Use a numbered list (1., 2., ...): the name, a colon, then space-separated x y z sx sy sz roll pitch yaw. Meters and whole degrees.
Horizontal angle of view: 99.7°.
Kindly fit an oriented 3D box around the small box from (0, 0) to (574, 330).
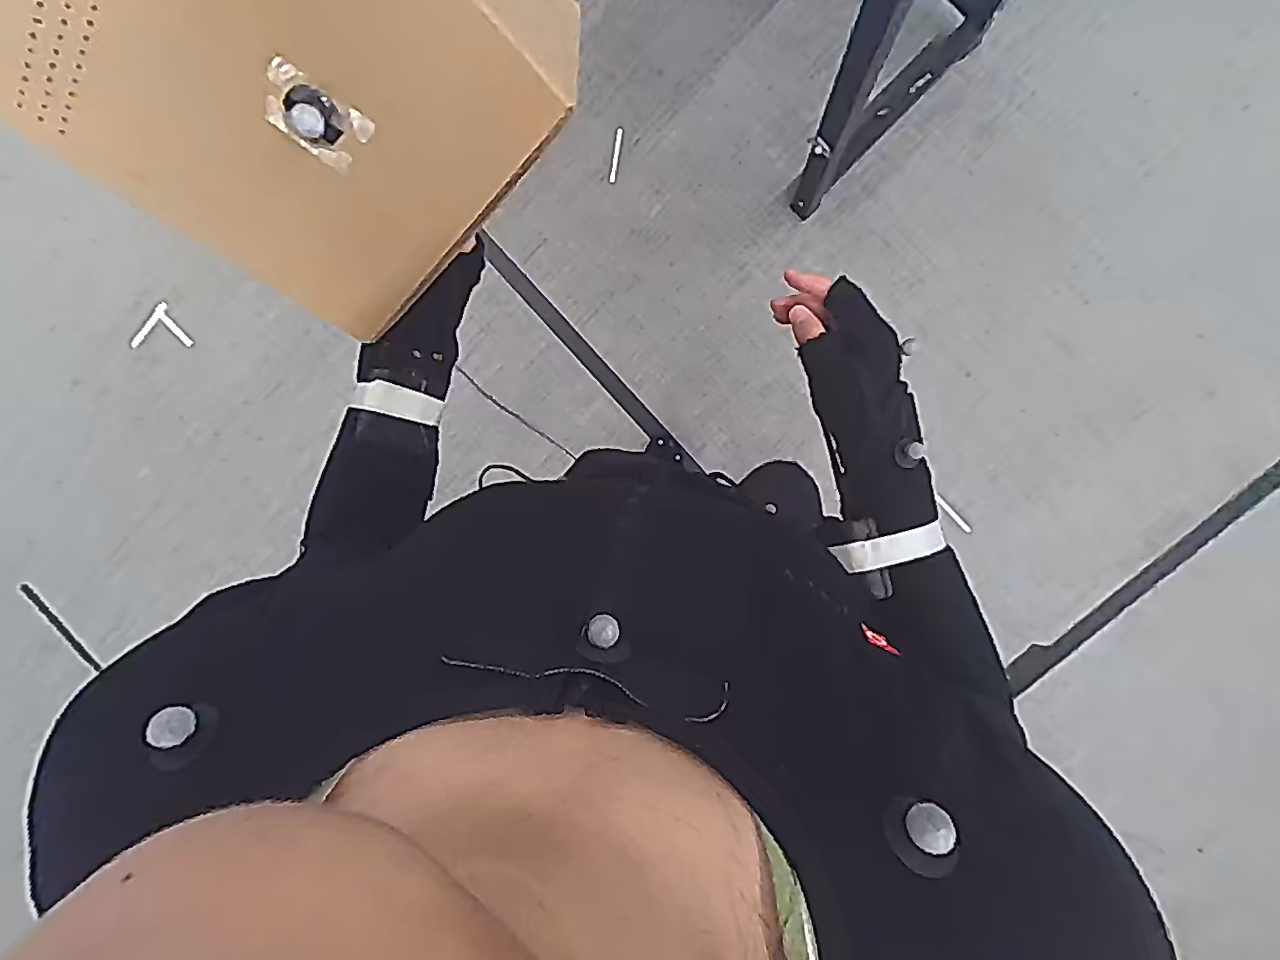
1. small box: -0.154 -0.221 0.271 0.179 0.168 0.176 -32 134 31
